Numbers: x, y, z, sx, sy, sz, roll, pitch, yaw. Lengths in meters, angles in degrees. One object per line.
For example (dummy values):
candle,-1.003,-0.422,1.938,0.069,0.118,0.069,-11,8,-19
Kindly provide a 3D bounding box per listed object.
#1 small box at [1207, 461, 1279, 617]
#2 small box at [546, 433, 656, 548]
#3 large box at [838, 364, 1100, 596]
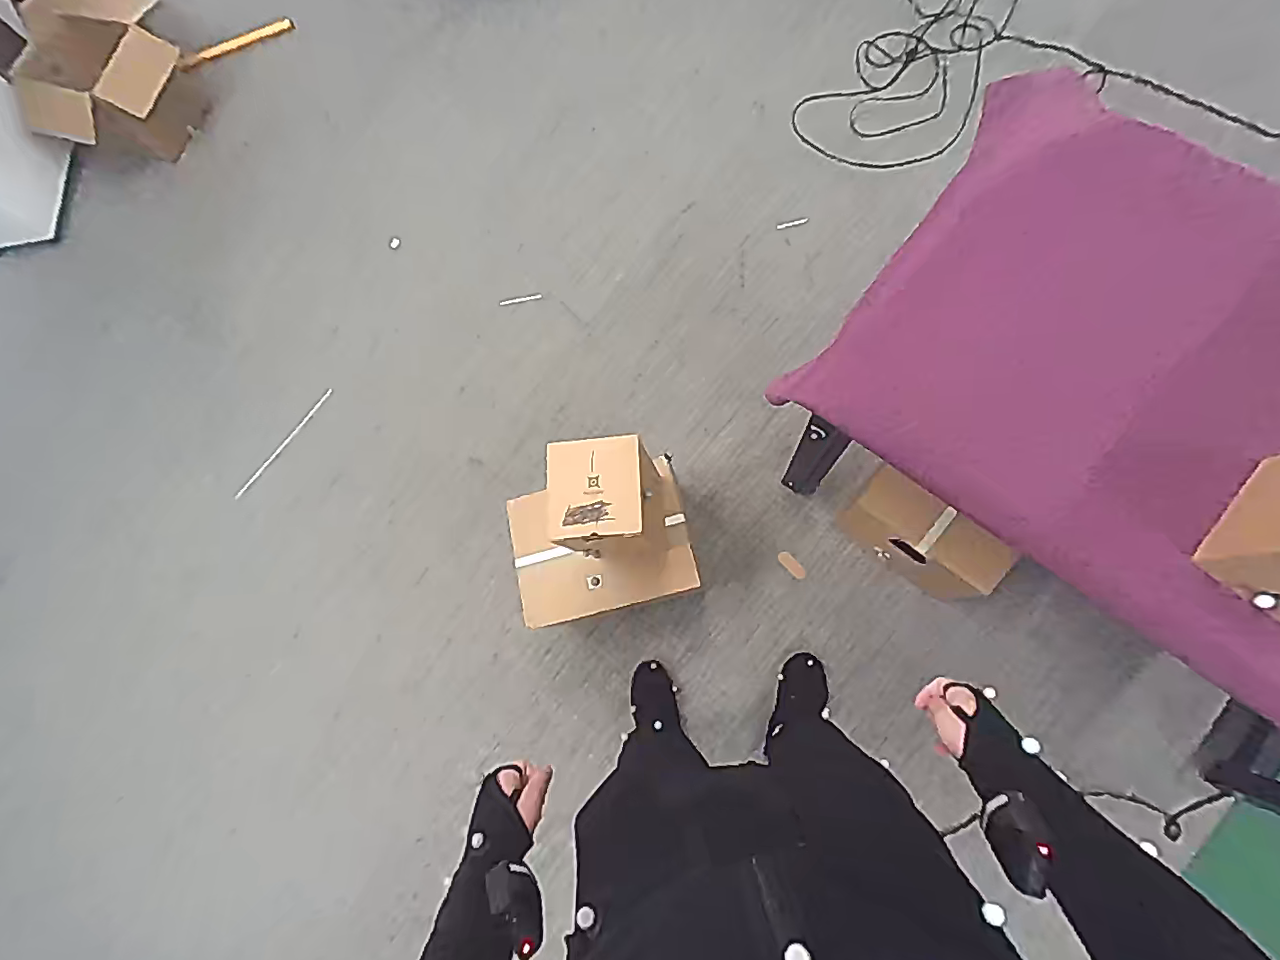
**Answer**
small box,0.782,0.066,0.569,0.168,0.176,0.179,40,86,16
small box,-0.065,0.028,0.984,0.168,0.176,0.179,-5,75,9
large box,0.734,0.020,1.276,0.320,0.320,0.408,39,85,15
